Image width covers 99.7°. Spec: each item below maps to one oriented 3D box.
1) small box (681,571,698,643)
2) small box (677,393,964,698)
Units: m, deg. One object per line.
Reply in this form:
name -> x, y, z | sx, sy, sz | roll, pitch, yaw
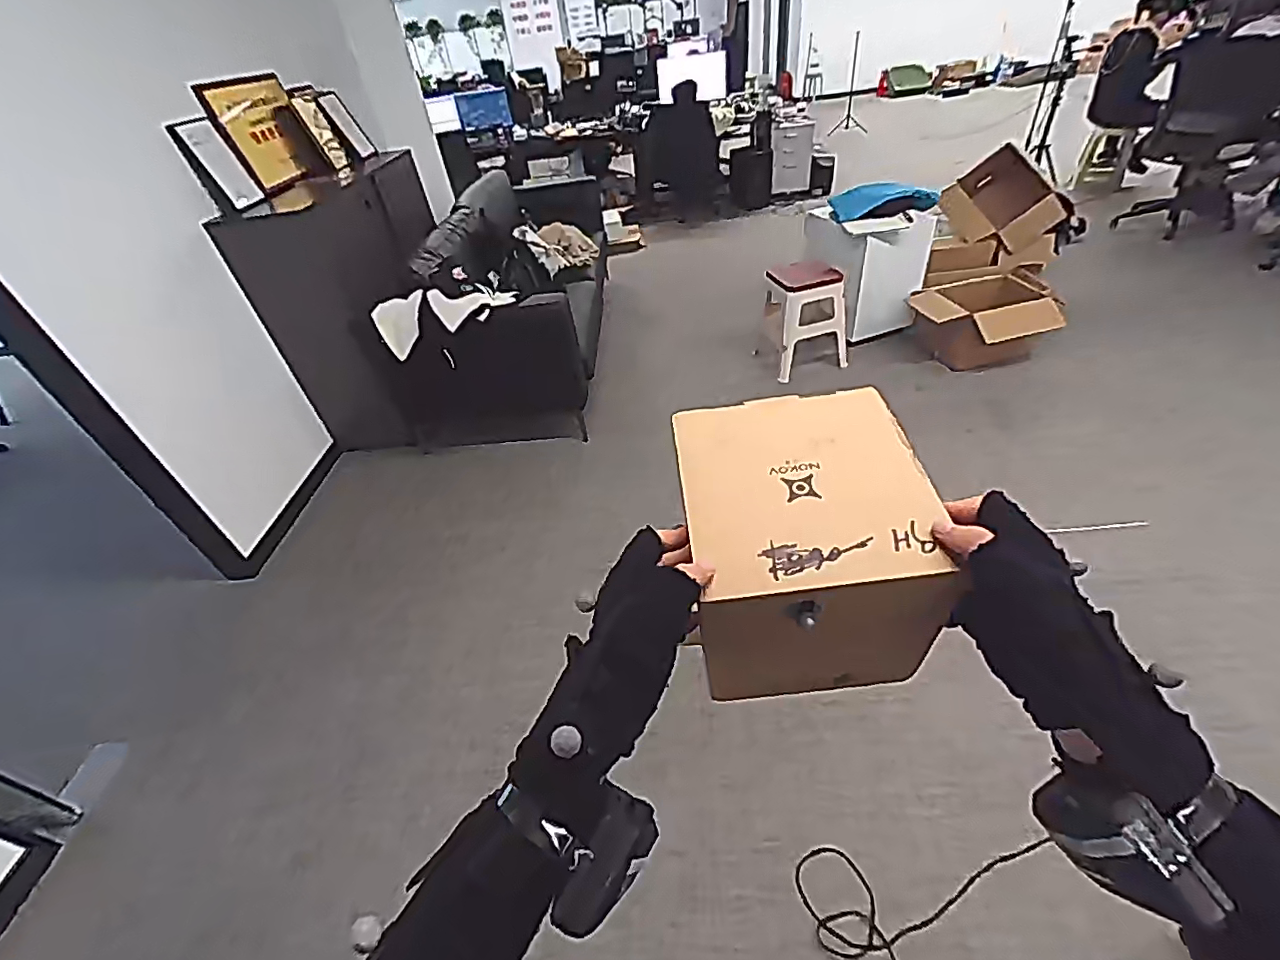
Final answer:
small box -> 0.225, 0.399, 1.701 | 0.179, 0.176, 0.168 | -4, 40, 5
small box -> 0.123, 0.055, 0.444 | 0.168, 0.176, 0.179 | -8, 46, 4
